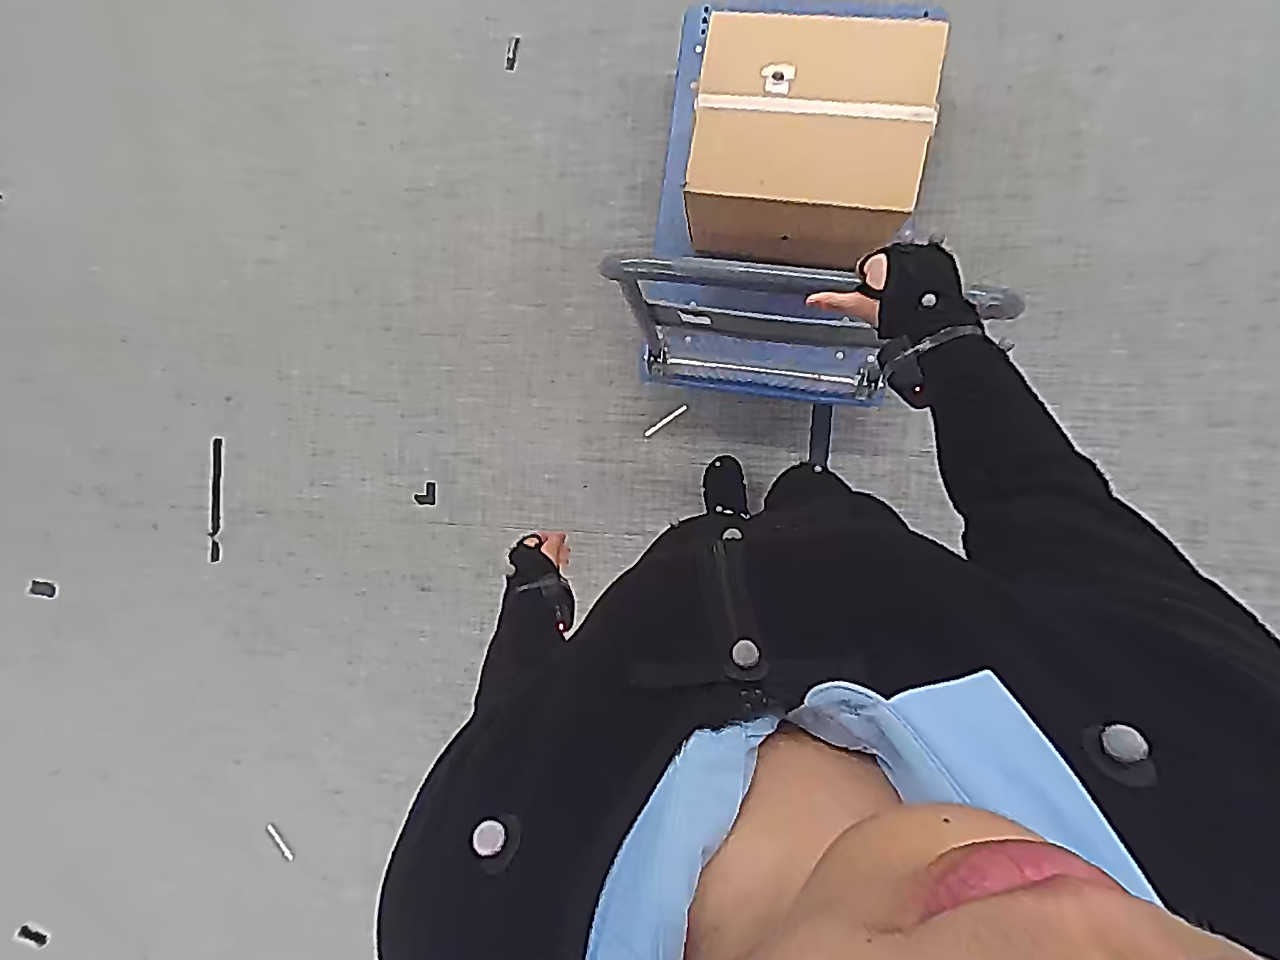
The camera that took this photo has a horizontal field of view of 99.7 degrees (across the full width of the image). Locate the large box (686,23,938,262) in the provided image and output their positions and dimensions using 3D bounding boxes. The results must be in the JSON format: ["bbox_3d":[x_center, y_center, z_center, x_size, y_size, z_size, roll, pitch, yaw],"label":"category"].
[{"bbox_3d":[0.325,-0.662,1.109,0.408,0.320,0.320,9,94,9],"label":"large box"}]
